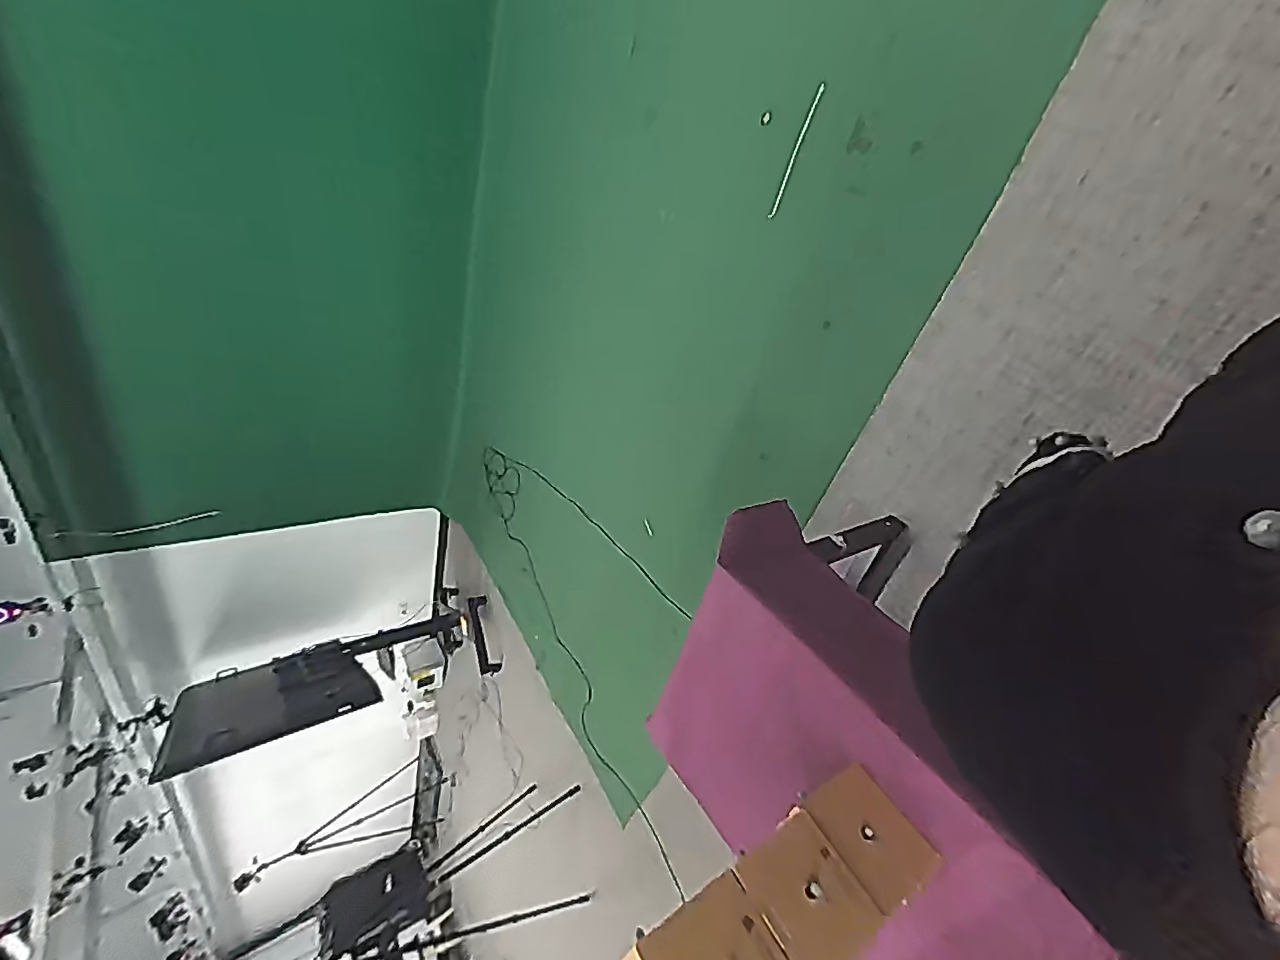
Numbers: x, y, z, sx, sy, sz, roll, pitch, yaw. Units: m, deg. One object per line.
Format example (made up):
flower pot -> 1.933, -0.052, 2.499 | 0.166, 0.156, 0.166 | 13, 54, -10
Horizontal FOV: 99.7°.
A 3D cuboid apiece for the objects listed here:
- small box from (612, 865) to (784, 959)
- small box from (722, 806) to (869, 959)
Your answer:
small box -> 0.078, 0.652, 0.703 | 0.168, 0.176, 0.179 | 48, 133, 35
small box -> 0.207, 0.629, 0.804 | 0.168, 0.176, 0.179 | 50, 133, 34
